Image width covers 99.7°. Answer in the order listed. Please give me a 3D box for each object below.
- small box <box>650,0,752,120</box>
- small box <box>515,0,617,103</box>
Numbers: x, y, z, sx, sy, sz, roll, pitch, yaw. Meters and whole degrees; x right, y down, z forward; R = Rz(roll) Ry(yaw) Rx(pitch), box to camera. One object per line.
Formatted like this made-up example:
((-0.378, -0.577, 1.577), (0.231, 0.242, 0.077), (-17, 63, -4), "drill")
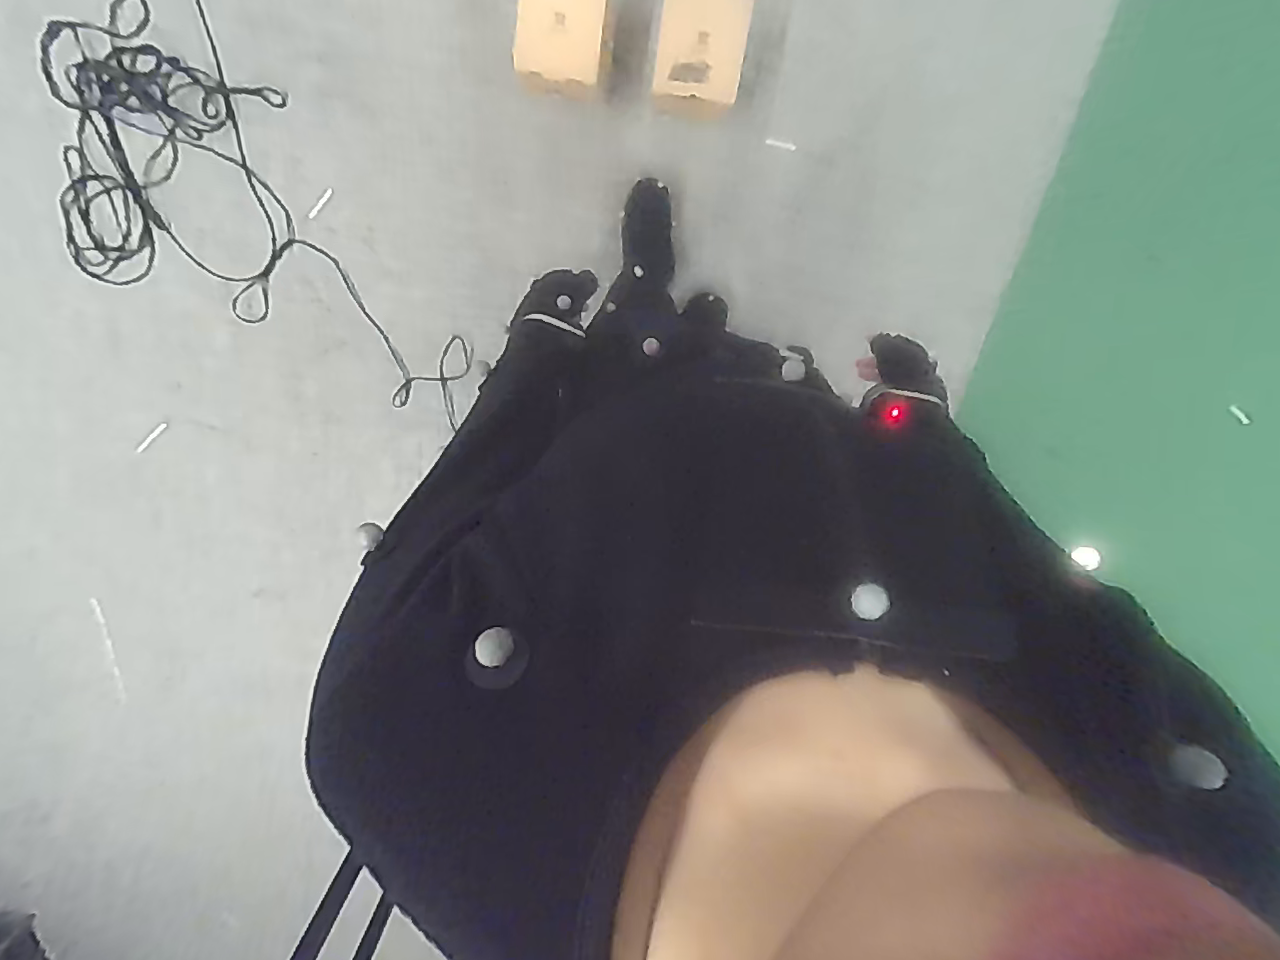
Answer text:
((0.119, -0.853, 1.088), (0.168, 0.176, 0.179), (10, 112, 0), "small box")
((-0.144, -0.897, 1.090), (0.168, 0.176, 0.179), (11, 113, 0), "small box")
